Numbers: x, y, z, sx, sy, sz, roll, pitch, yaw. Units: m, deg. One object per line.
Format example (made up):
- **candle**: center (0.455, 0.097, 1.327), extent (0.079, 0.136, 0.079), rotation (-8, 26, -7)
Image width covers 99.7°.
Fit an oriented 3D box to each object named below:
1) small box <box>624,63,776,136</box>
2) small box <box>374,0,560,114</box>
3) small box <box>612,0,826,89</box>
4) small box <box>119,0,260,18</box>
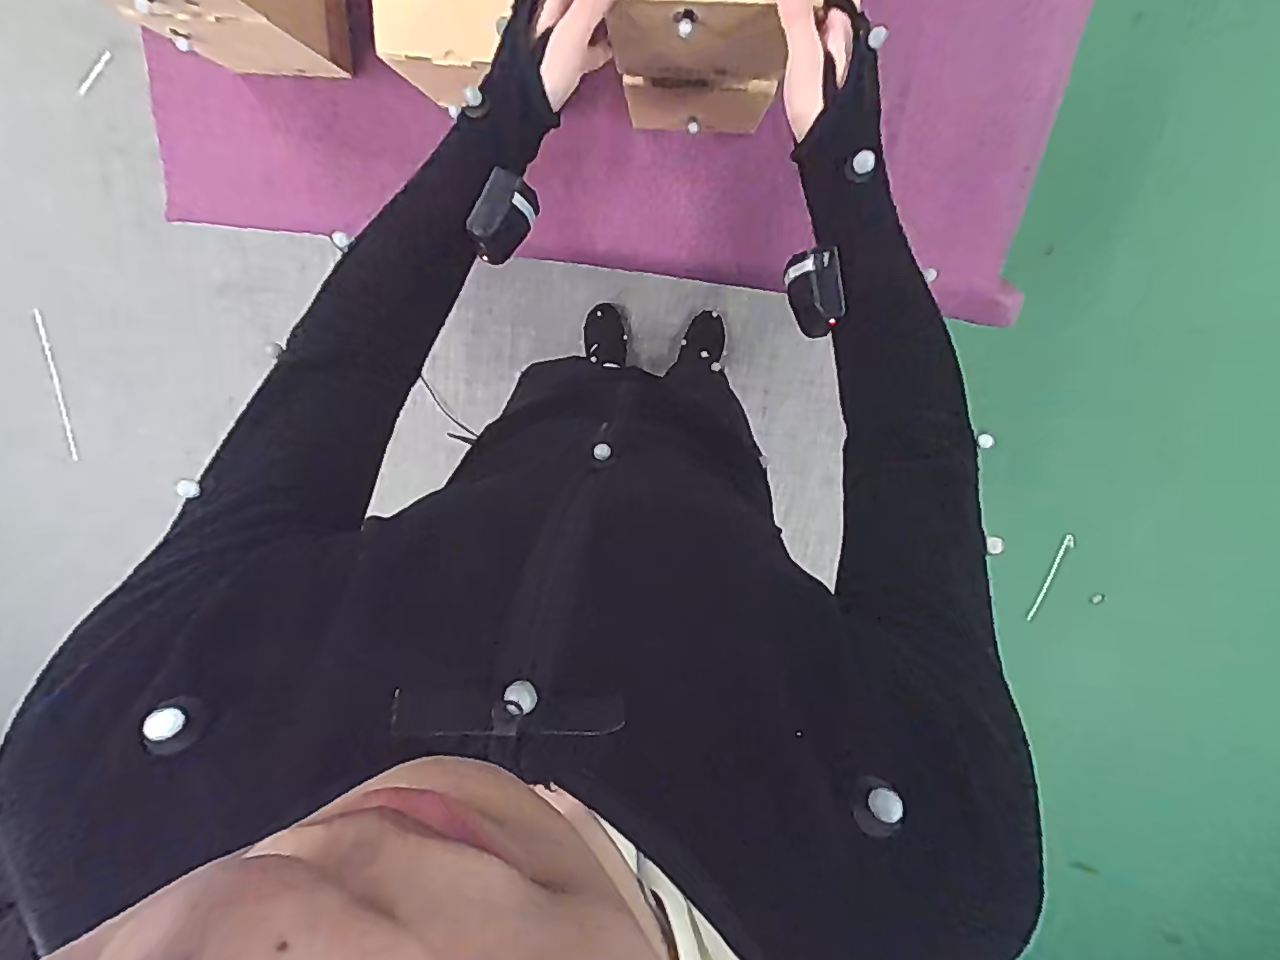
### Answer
- **small box**: center (0.073, -0.524, 0.625), extent (0.168, 0.176, 0.179), rotation (5, 110, 2)
- **small box**: center (-0.190, -0.557, 0.627), extent (0.168, 0.176, 0.179), rotation (5, 111, 1)
- **small box**: center (0.063, -0.457, 0.443), extent (0.168, 0.176, 0.179), rotation (4, 110, 1)
- **small box**: center (-0.473, -0.550, 0.466), extent (0.168, 0.176, 0.179), rotation (5, 110, 1)
